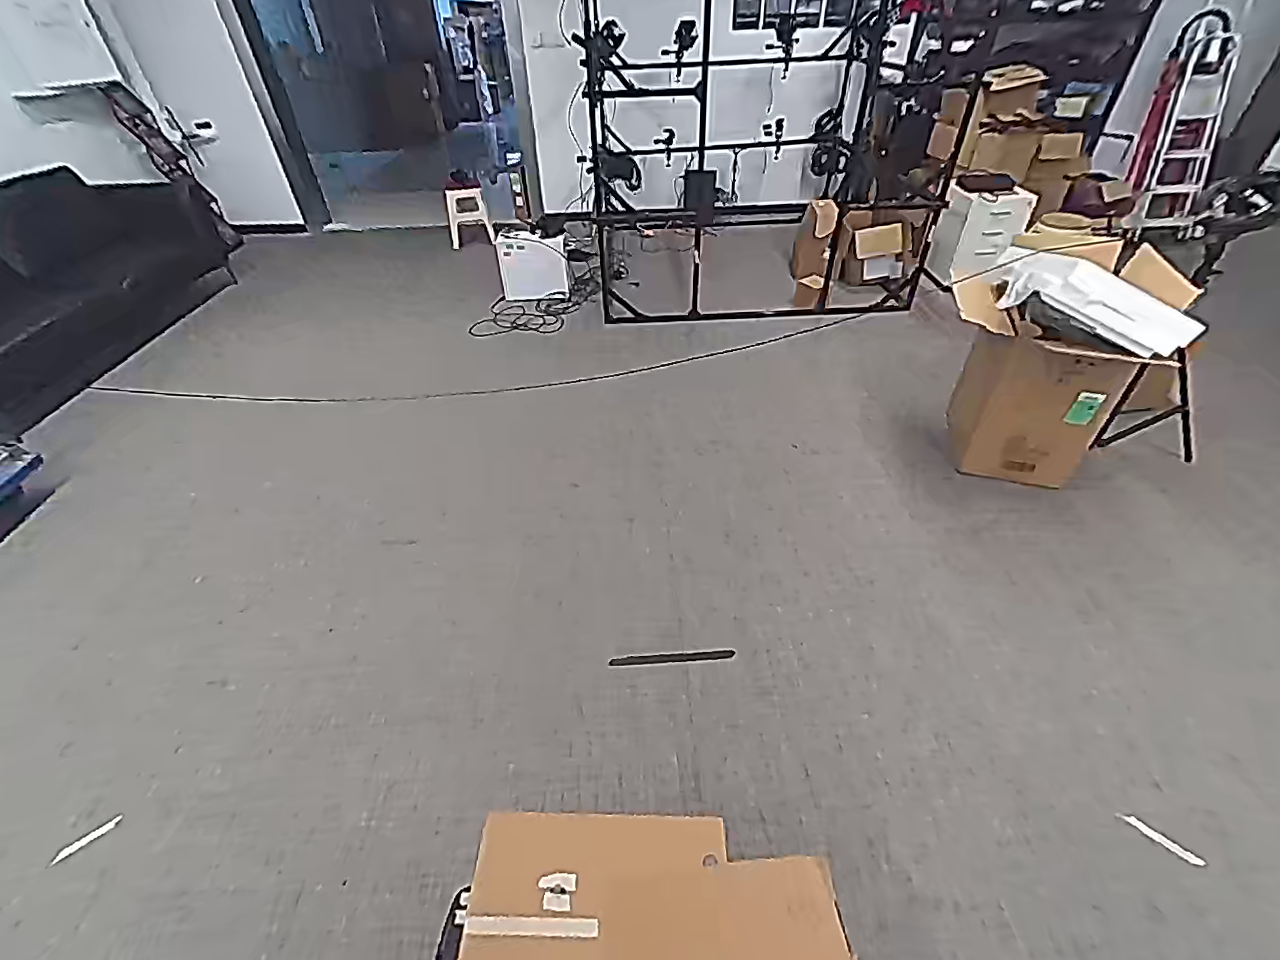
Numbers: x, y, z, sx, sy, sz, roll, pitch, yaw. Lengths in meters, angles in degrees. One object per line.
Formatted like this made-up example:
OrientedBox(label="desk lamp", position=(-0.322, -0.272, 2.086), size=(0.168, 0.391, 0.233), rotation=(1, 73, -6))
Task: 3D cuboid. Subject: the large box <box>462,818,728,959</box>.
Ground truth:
OrientedBox(label="large box", position=(-0.051, 0.782, 0.888), size=(0.408, 0.320, 0.320), rotation=(-1, 40, 3))
